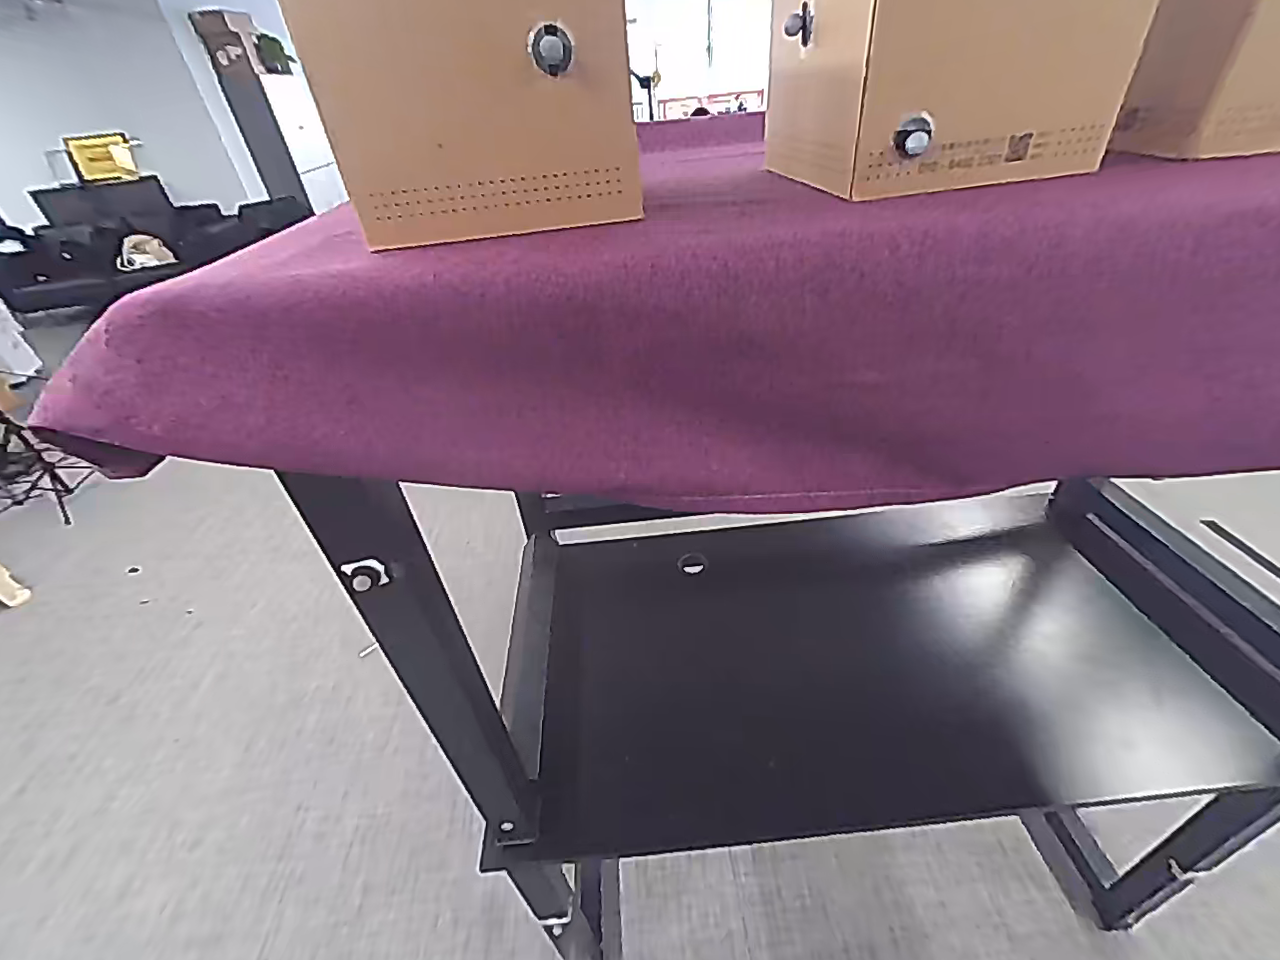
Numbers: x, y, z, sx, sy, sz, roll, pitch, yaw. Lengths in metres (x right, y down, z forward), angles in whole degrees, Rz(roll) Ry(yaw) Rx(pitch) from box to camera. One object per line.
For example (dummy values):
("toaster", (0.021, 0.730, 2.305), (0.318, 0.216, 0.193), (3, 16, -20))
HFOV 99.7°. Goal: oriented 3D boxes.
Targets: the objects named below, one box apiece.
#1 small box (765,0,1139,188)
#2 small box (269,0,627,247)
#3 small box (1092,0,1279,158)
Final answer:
("small box", (0.188, -0.299, 0.356), (0.168, 0.176, 0.179), (-8, 35, -3))
("small box", (-0.105, -0.264, 0.352), (0.179, 0.176, 0.168), (-9, 36, -5))
("small box", (0.420, -0.322, 0.354), (0.179, 0.176, 0.168), (-4, 36, 2))
